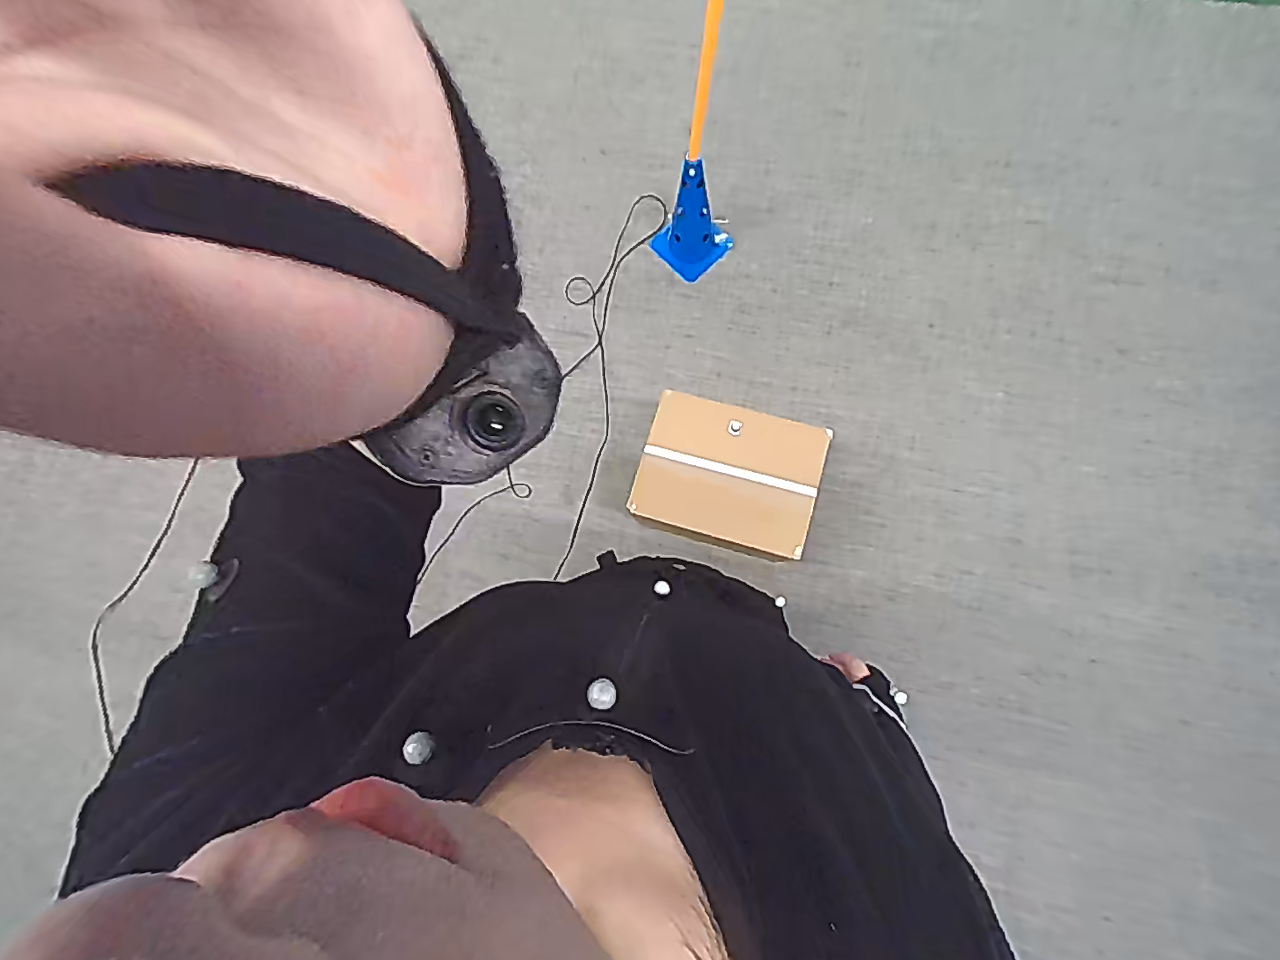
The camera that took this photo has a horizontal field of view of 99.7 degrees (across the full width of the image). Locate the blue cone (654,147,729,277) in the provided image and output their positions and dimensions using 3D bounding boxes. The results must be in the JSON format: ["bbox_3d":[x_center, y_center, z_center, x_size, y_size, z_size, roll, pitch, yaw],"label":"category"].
[{"bbox_3d":[0.149,-0.773,1.510,0.192,0.380,0.193,44,84,10],"label":"blue cone"}]
